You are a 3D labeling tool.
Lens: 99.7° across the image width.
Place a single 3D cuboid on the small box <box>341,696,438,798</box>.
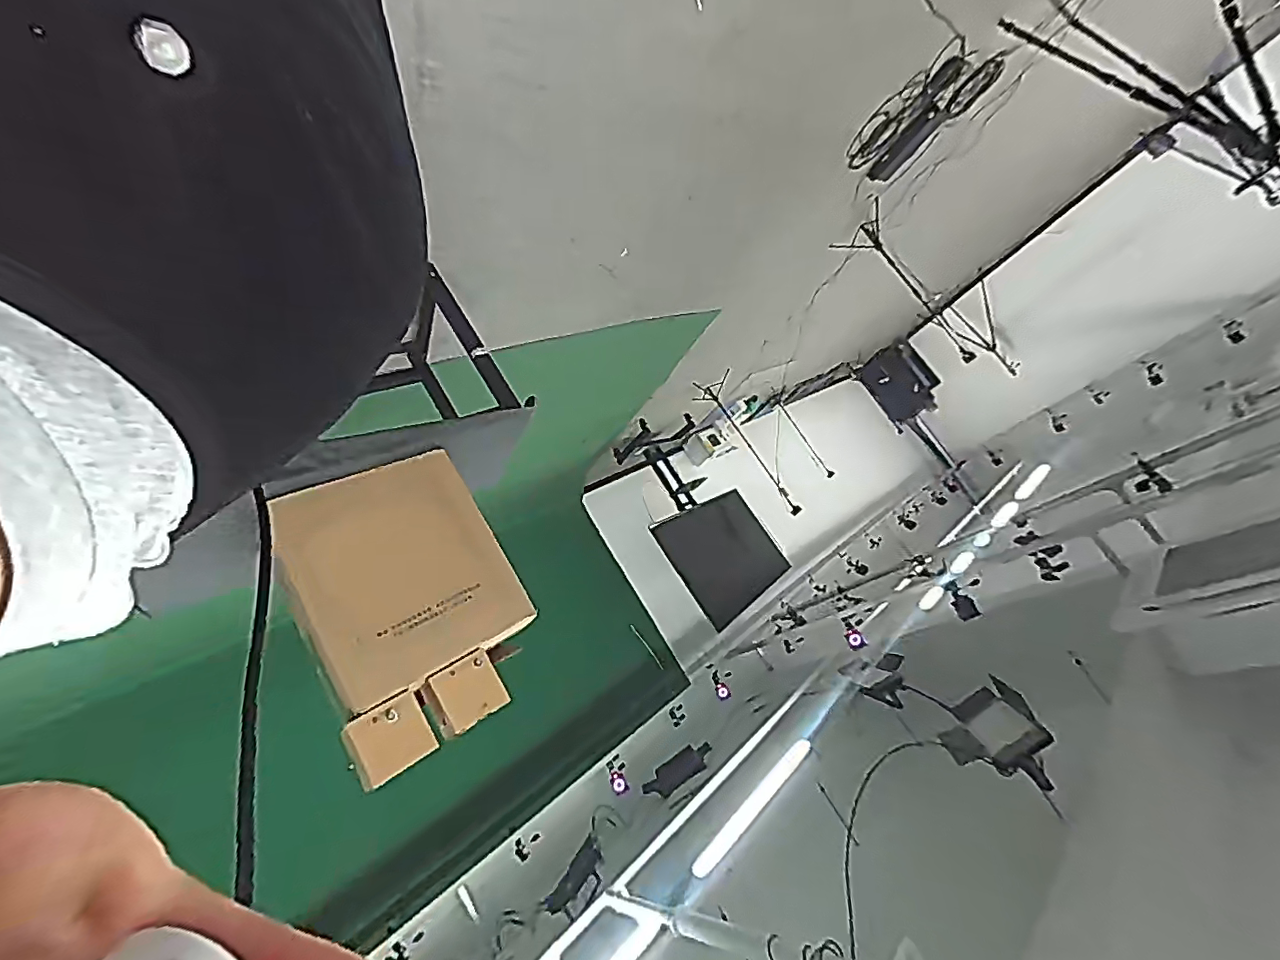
[{"bbox_3d":[-0.650,0.685,1.394,0.168,0.176,0.179,-25,165,-39],"label":"small box"}]
